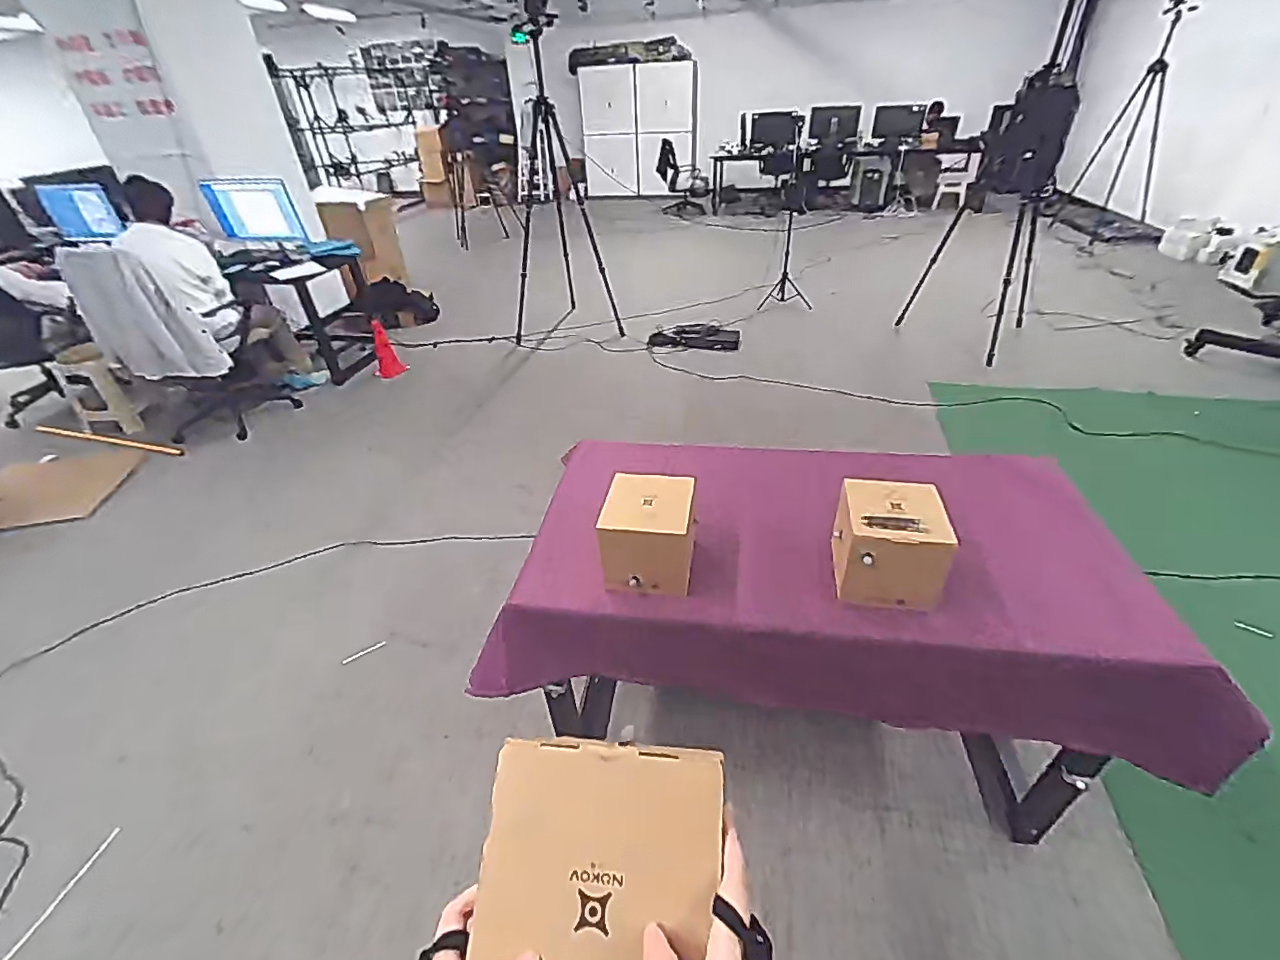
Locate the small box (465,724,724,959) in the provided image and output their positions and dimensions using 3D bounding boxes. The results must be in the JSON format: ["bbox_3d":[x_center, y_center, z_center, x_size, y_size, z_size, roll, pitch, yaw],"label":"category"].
[{"bbox_3d":[-0.018,0.301,0.435,0.168,0.176,0.179,0,64,10],"label":"small box"}]

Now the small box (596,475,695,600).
[{"bbox_3d":[0.018,0.111,1.076,0.168,0.176,0.179,3,37,11],"label":"small box"}]
